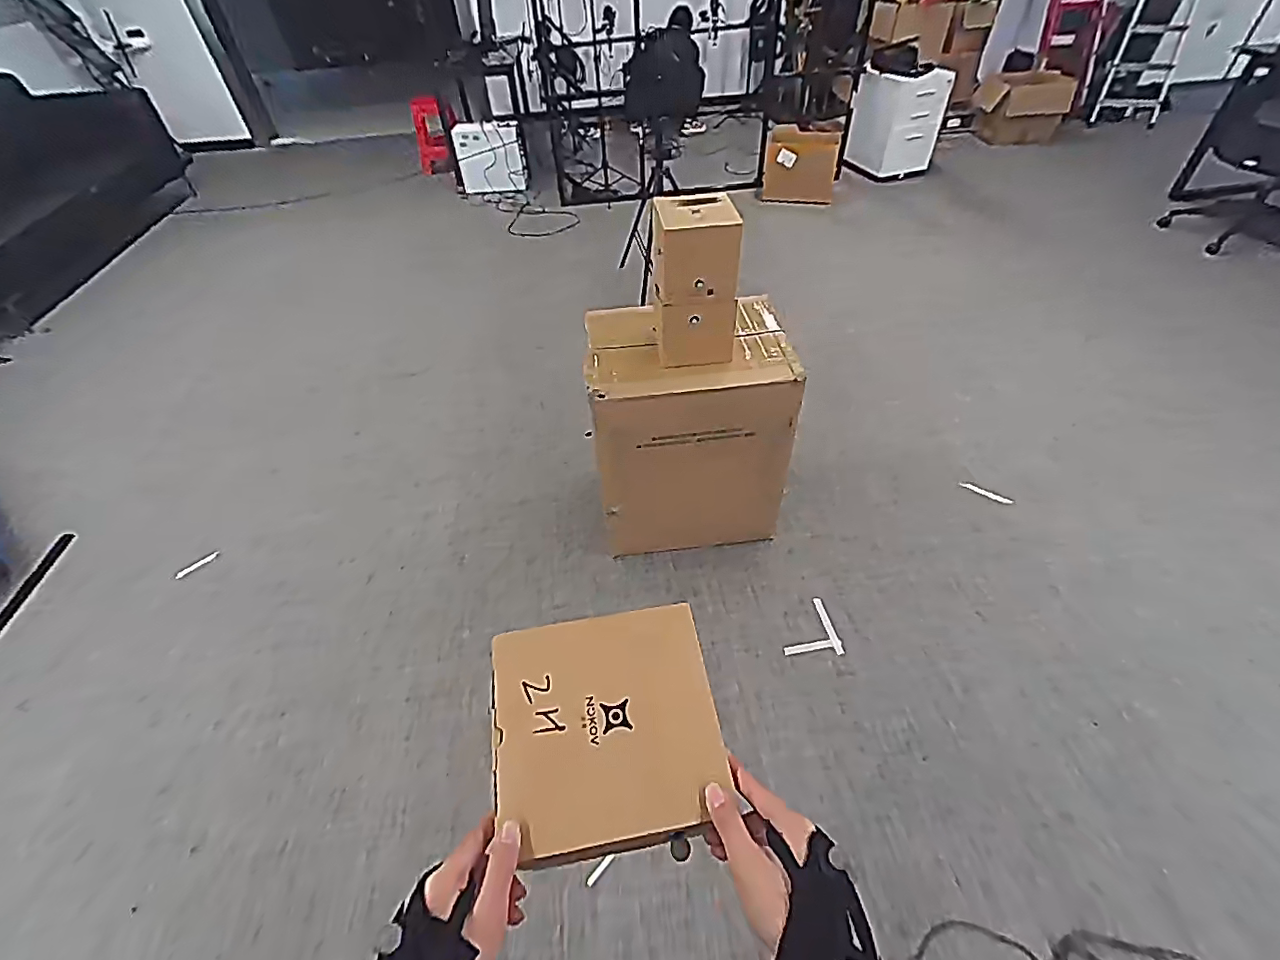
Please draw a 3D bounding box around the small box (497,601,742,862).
[{"bbox_3d":[-0.025,0.229,0.488,0.179,0.176,0.168,-8,53,-5],"label":"small box"}]

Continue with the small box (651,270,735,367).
[{"bbox_3d":[0.126,-0.392,1.323,0.179,0.176,0.168,-6,46,-3],"label":"small box"}]
